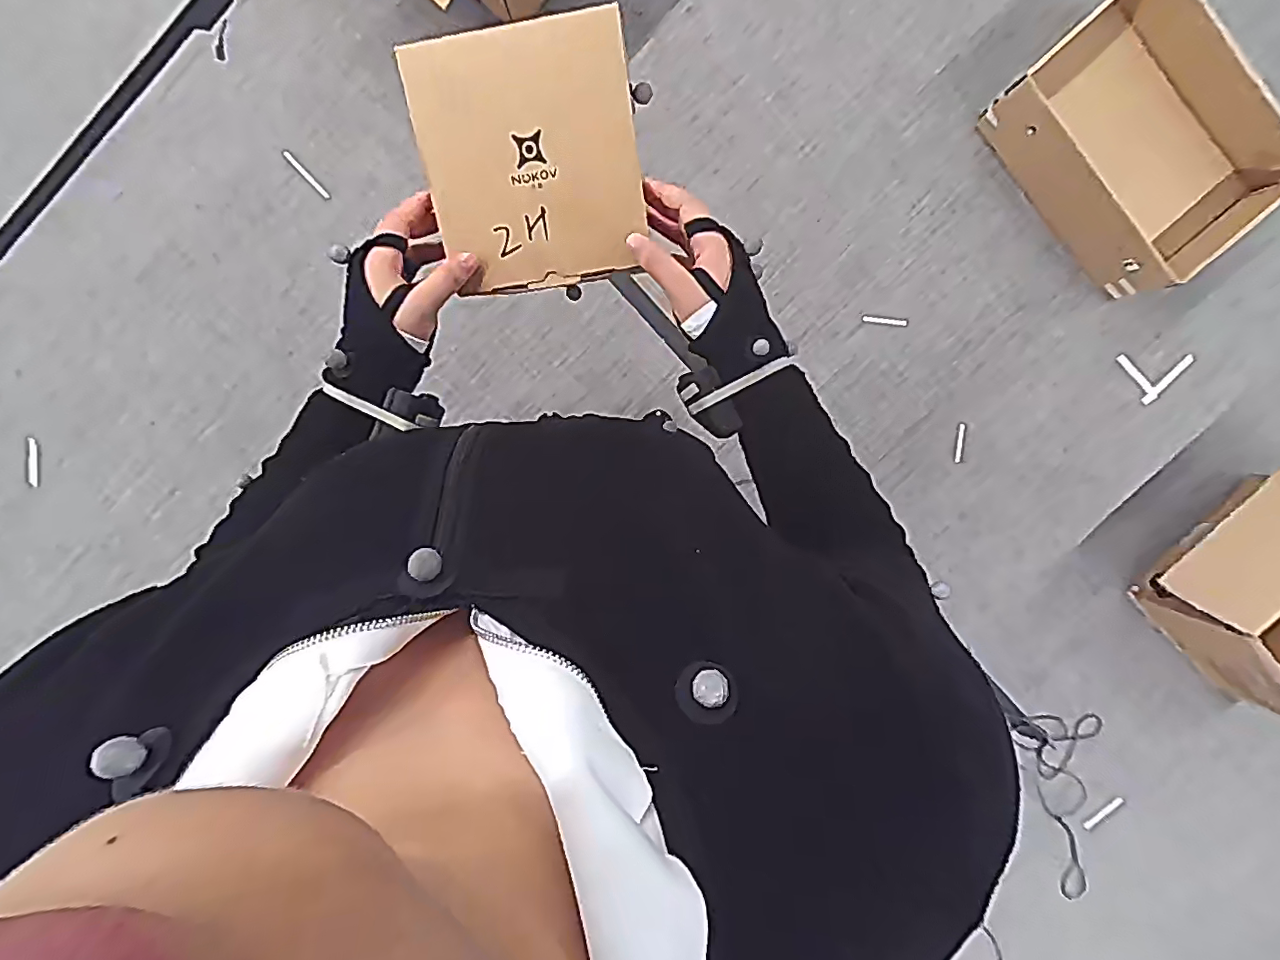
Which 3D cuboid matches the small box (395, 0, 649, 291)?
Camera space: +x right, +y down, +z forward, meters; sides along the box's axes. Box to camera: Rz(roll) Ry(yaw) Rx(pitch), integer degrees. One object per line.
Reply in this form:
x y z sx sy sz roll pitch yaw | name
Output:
-0.085 -0.273 0.486 0.168 0.176 0.179 -8 109 4 | small box
